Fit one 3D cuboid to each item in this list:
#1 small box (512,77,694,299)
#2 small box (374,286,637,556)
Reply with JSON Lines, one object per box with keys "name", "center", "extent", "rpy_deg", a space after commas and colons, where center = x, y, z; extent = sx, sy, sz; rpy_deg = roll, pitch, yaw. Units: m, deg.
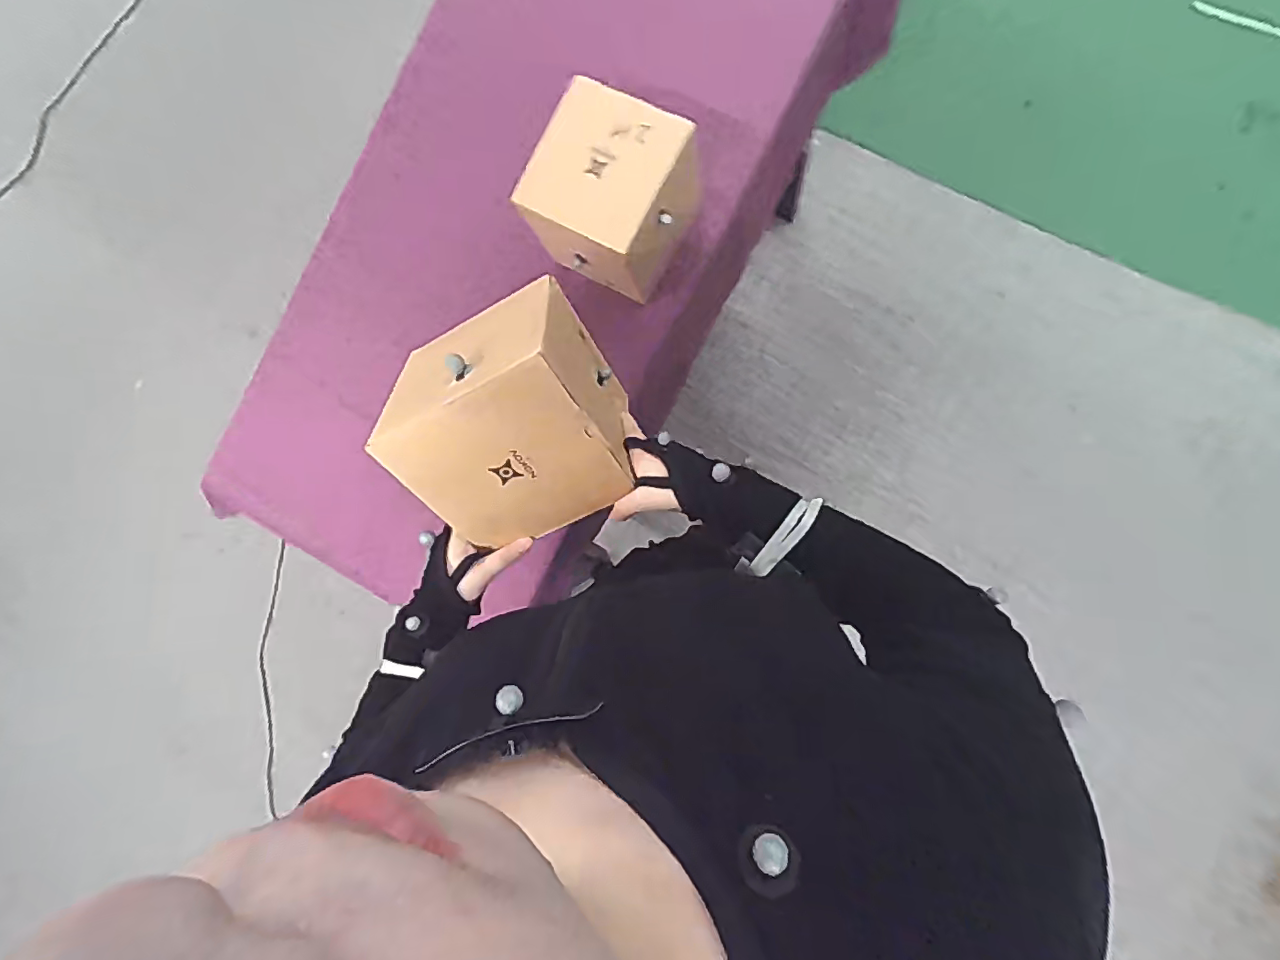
{"name": "small box", "center": [-0.036, -0.375, 0.729], "extent": [0.168, 0.176, 0.179], "rpy_deg": [30, 92, 9]}
{"name": "small box", "center": [-0.118, -0.061, 0.539], "extent": [0.179, 0.176, 0.168], "rpy_deg": [-23, 129, 12]}
